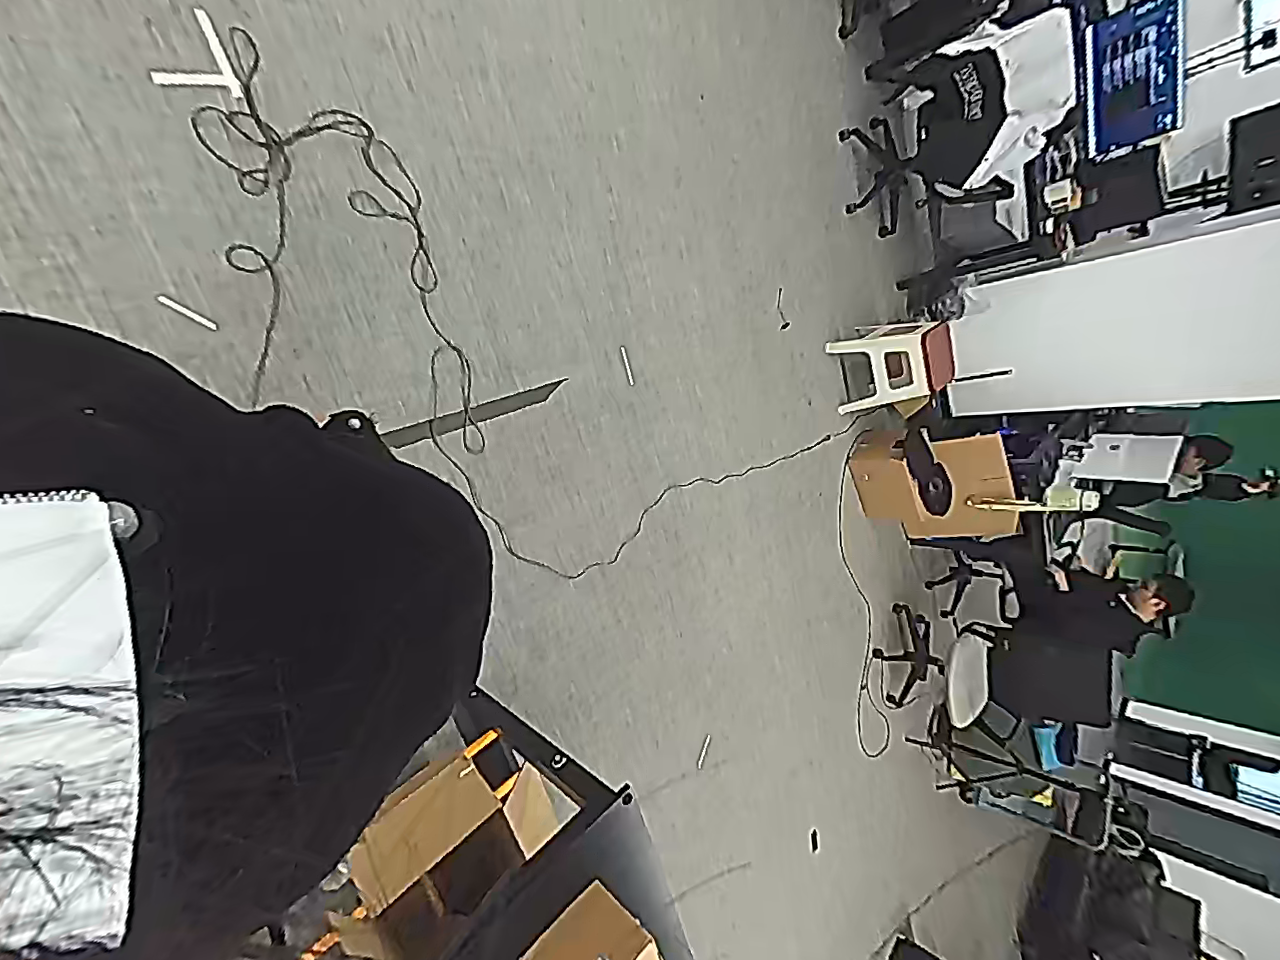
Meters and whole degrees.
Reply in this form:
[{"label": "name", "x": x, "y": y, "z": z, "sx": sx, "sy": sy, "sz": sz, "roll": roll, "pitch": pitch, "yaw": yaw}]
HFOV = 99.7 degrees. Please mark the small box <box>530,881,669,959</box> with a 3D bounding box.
[{"label": "small box", "x": -0.060, "y": 0.841, "z": 0.912, "sx": 0.179, "sy": 0.176, "sz": 0.168, "roll": -28, "pitch": 107, "yaw": -36}]
